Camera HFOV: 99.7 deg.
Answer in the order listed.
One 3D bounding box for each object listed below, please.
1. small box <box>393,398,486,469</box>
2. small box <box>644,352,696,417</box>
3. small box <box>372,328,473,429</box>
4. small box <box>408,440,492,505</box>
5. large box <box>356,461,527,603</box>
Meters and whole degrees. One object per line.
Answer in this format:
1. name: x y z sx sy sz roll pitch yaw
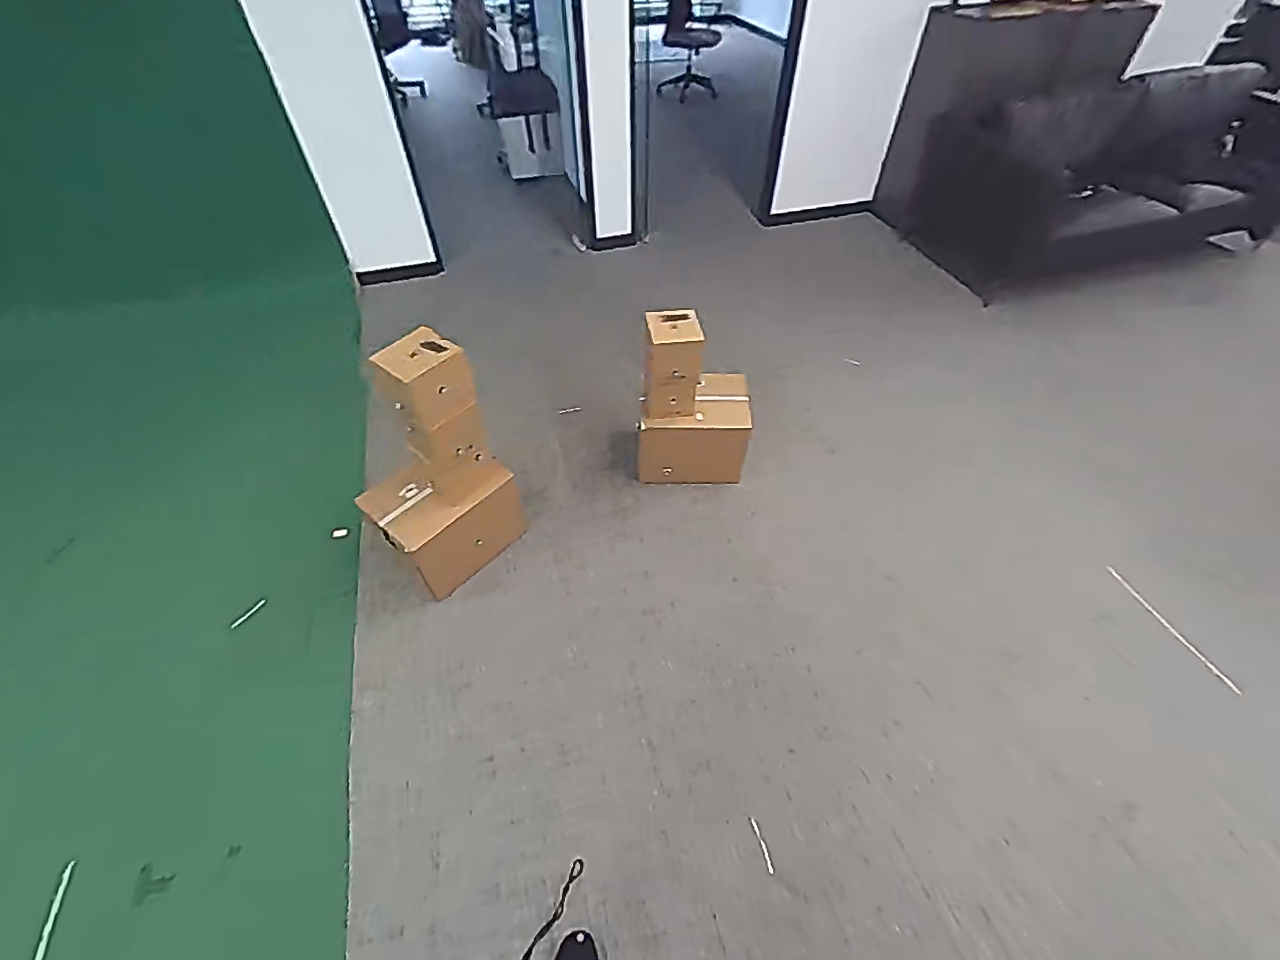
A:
1. small box: -0.574 -0.163 1.564 0.179 0.176 0.168 34 57 24
2. small box: 0.104 -0.337 1.942 0.168 0.176 0.179 -4 50 -5
3. small box: -0.567 -0.269 1.440 0.168 0.176 0.179 32 58 24
4. small box: -0.582 -0.059 1.688 0.168 0.176 0.179 32 56 24
5. large box: -0.654 0.130 1.850 0.320 0.320 0.408 31 56 26
